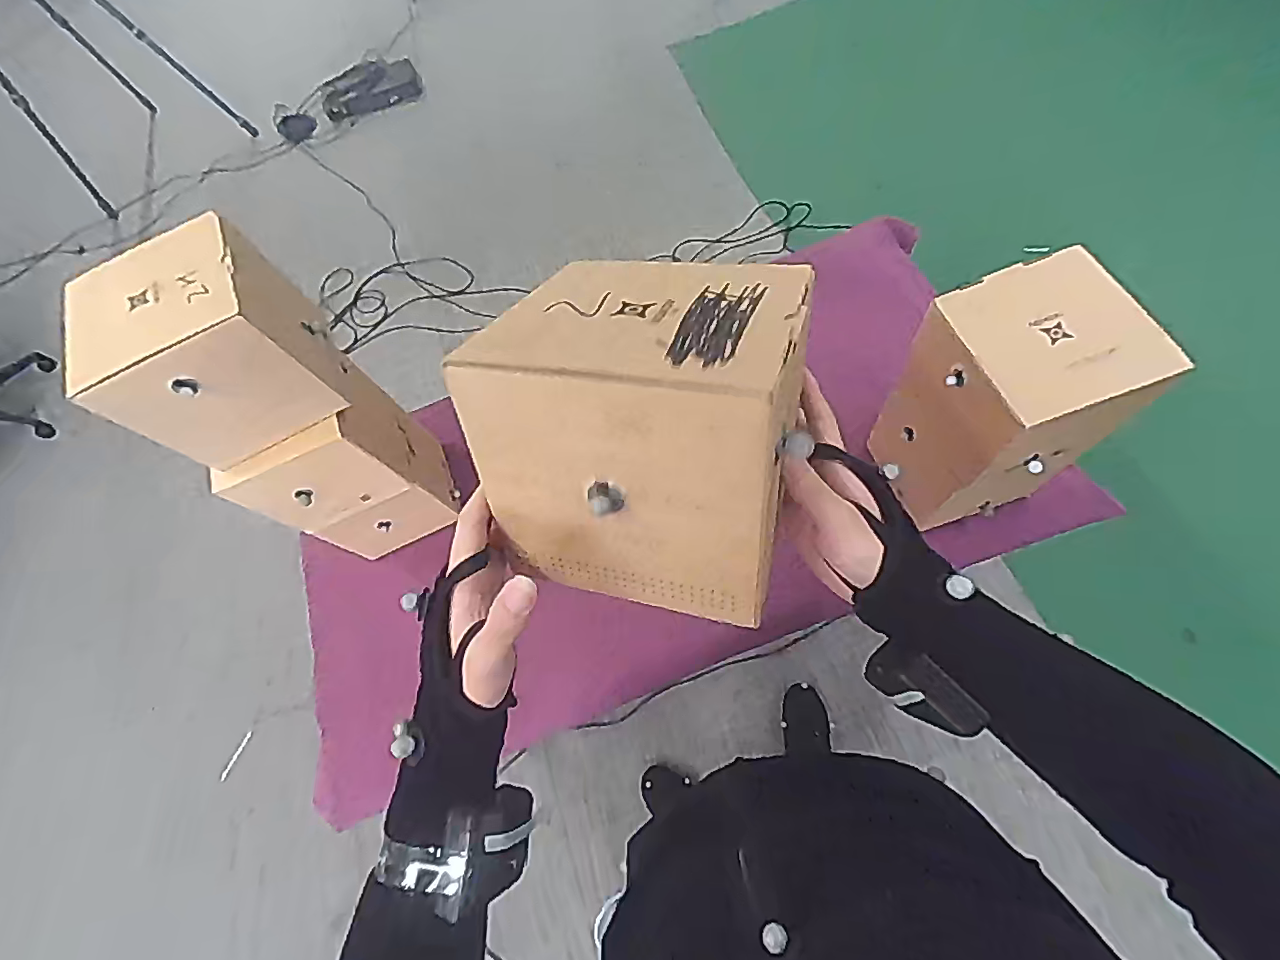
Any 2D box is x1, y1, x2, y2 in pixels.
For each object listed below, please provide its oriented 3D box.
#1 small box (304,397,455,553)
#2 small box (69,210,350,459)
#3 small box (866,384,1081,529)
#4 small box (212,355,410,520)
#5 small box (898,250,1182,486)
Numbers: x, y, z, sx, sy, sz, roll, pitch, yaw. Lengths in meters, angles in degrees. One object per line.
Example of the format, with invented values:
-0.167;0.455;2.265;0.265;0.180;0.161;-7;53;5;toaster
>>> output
-0.427;-0.001;0.893;0.179;0.176;0.168;-25;66;-2;small box
-0.467;-0.150;0.604;0.179;0.176;0.168;-28;66;-3;small box
0.453;-0.051;0.770;0.179;0.176;0.168;-19;64;1;small box
-0.444;-0.061;0.743;0.168;0.176;0.179;-25;65;-2;small box
0.428;-0.118;0.623;0.168;0.176;0.179;-19;65;3;small box
